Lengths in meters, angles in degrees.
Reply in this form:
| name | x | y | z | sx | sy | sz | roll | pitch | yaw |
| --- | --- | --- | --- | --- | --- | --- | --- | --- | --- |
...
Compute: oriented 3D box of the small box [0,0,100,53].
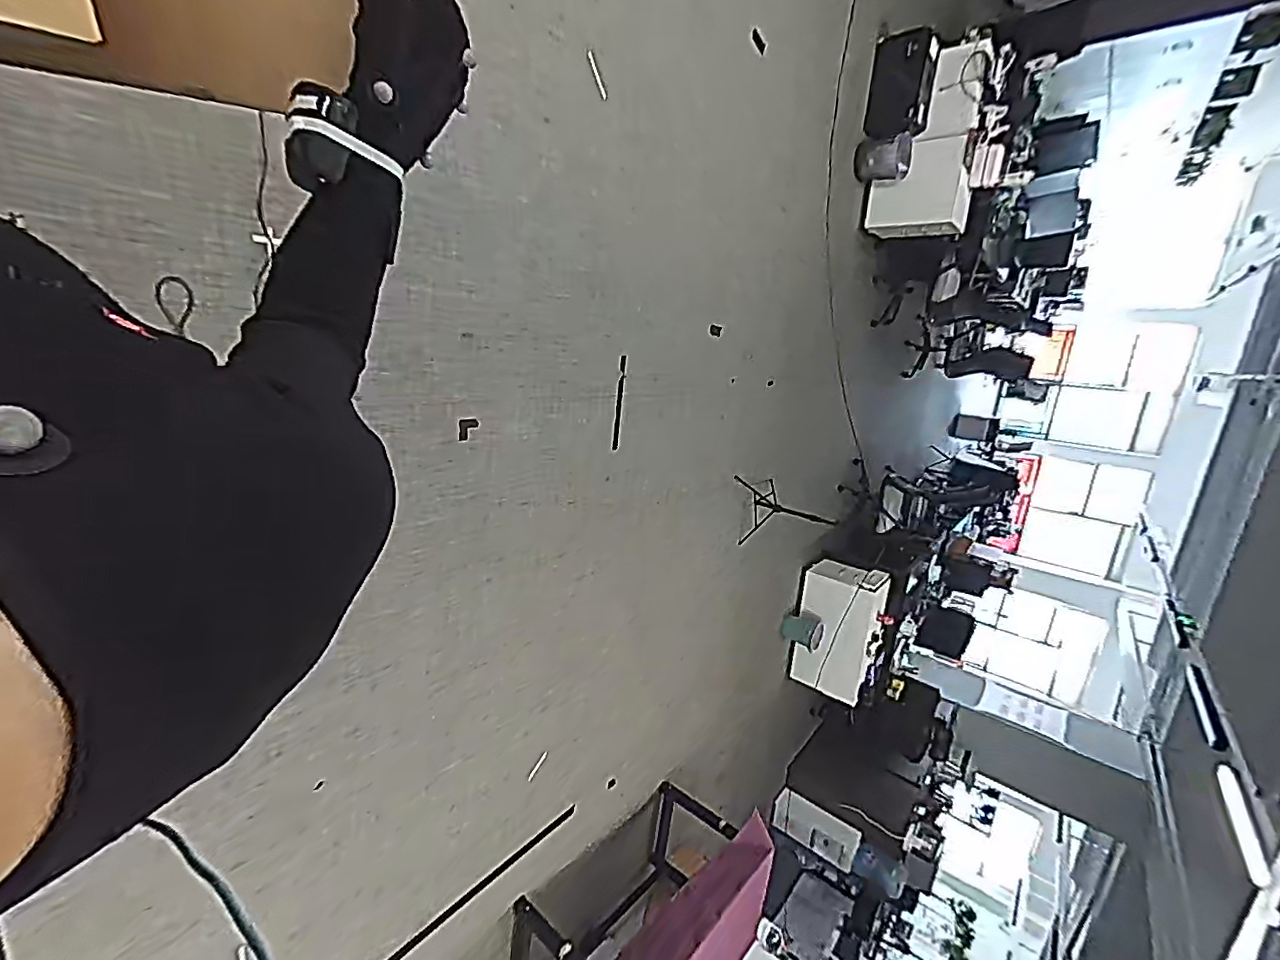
| name | x | y | z | sx | sy | sz | roll | pitch | yaw |
| --- | --- | --- | --- | --- | --- | --- | --- | --- | --- |
| small box | -0.416 | -0.318 | 0.239 | 0.179 | 0.176 | 0.168 | -41 | 144 | -56 |
